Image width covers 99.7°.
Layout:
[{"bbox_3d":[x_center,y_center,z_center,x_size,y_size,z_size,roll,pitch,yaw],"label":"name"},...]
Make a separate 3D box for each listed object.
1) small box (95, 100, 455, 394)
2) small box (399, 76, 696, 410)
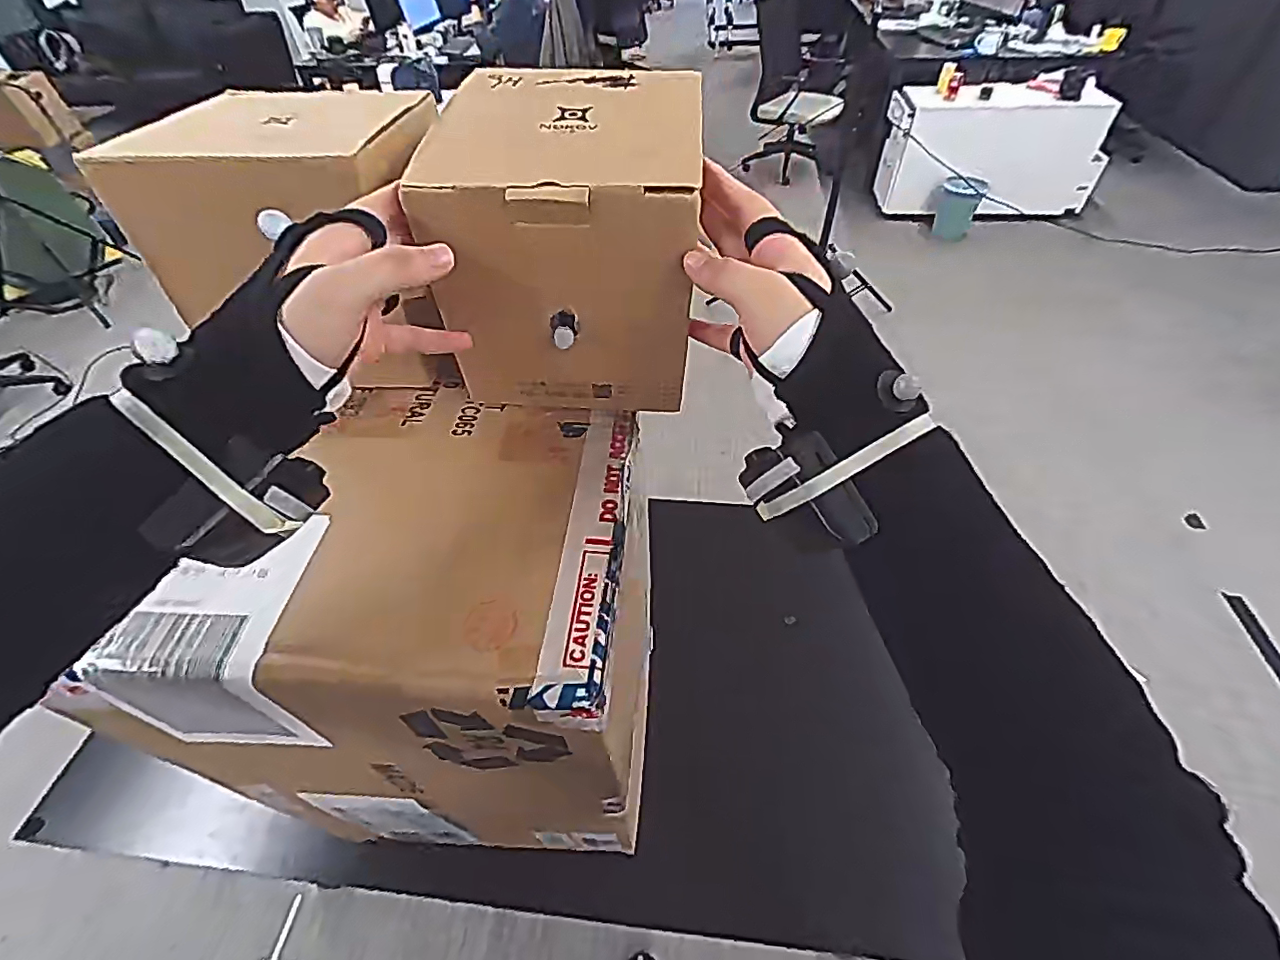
[{"bbox_3d":[-0.246,-0.188,0.438,0.168,0.176,0.179,-1,47,1],"label":"small box"},{"bbox_3d":[-0.048,-0.171,0.406,0.168,0.176,0.179,4,54,1],"label":"small box"}]
